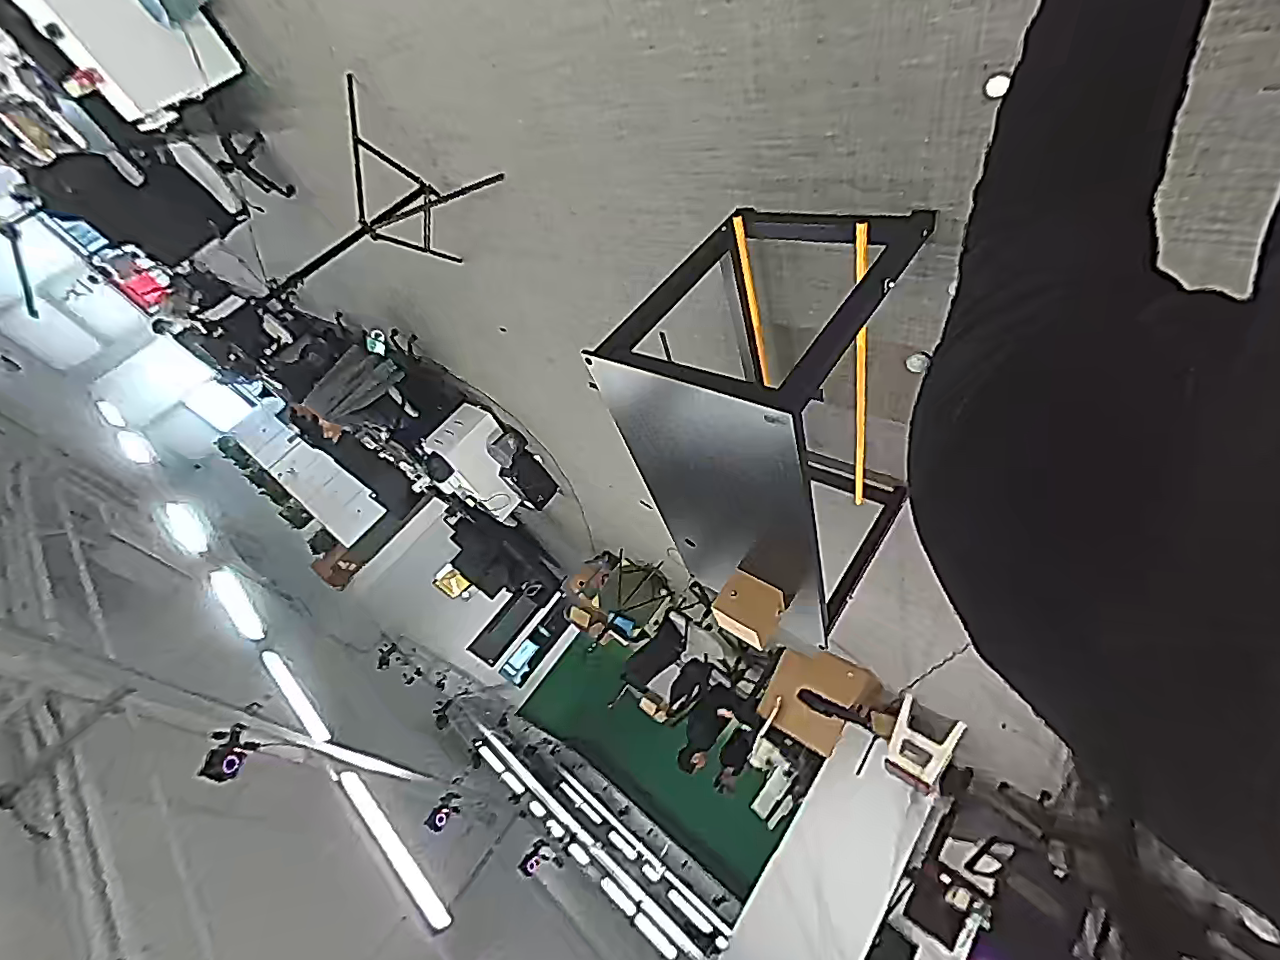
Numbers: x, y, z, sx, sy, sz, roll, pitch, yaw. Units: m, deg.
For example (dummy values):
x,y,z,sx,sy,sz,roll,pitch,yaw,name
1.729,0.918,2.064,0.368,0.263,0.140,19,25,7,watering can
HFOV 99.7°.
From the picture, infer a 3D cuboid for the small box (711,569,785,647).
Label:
x,y,z,sx,sy,sz,roll,pitch,yaw,name
0.370,0.425,1.829,0.179,0.176,0.168,24,156,34,small box
